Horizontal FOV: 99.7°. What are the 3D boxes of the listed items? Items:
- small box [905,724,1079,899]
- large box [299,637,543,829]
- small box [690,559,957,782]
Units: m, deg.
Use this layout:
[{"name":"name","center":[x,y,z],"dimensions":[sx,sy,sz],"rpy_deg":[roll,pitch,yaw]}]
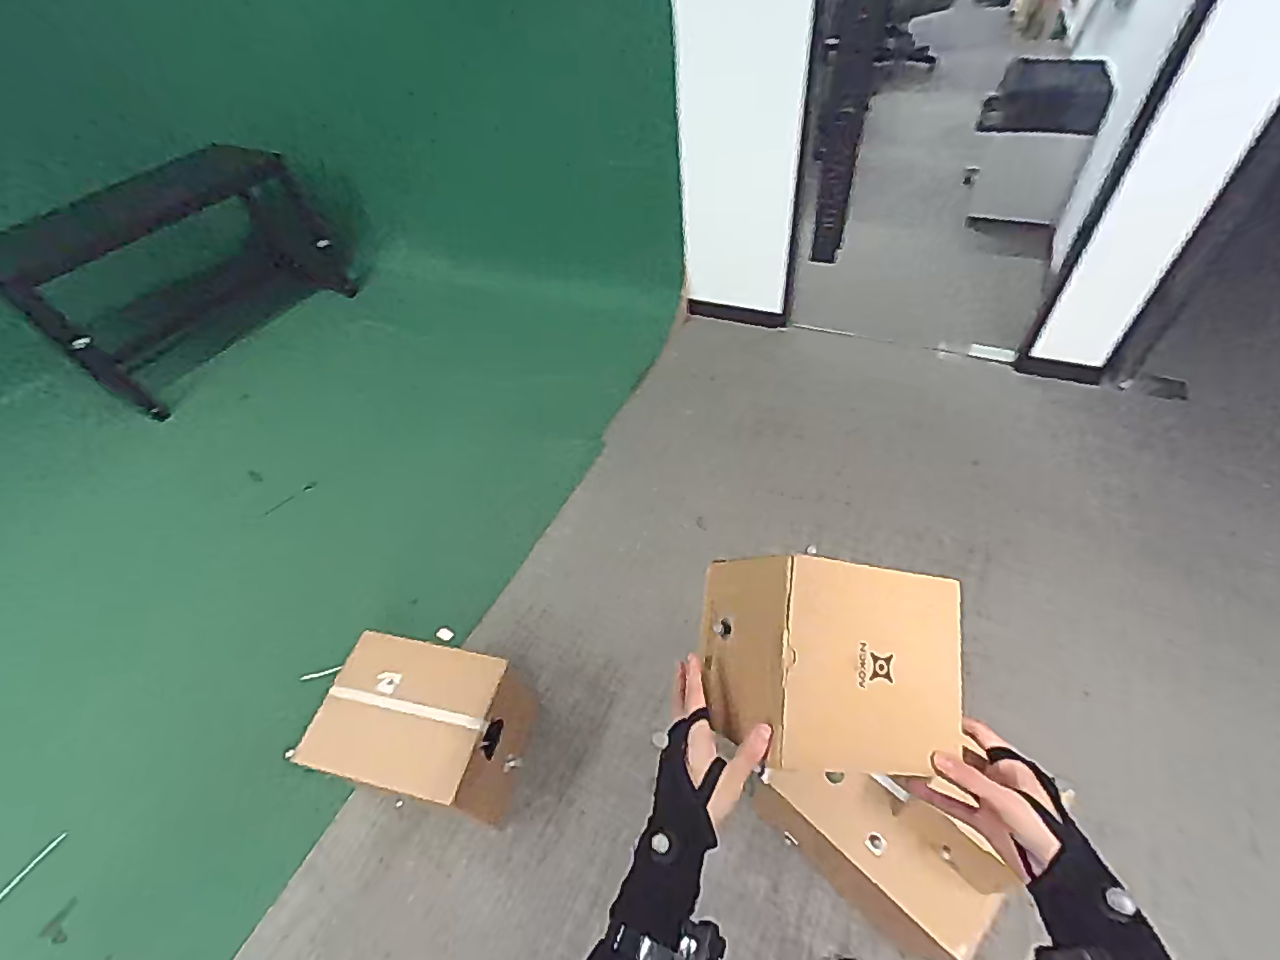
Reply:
[{"name":"small box","center":[0.580,0.559,0.913],"dimensions":[0.179,0.176,0.168],"rpy_deg":[-37,54,-24]},{"name":"large box","center":[-0.504,0.625,1.339],"dimensions":[0.408,0.320,0.320],"rpy_deg":[6,50,15]},{"name":"small box","center":[0.164,0.172,0.517],"dimensions":[0.179,0.176,0.168],"rpy_deg":[9,75,-14]}]
